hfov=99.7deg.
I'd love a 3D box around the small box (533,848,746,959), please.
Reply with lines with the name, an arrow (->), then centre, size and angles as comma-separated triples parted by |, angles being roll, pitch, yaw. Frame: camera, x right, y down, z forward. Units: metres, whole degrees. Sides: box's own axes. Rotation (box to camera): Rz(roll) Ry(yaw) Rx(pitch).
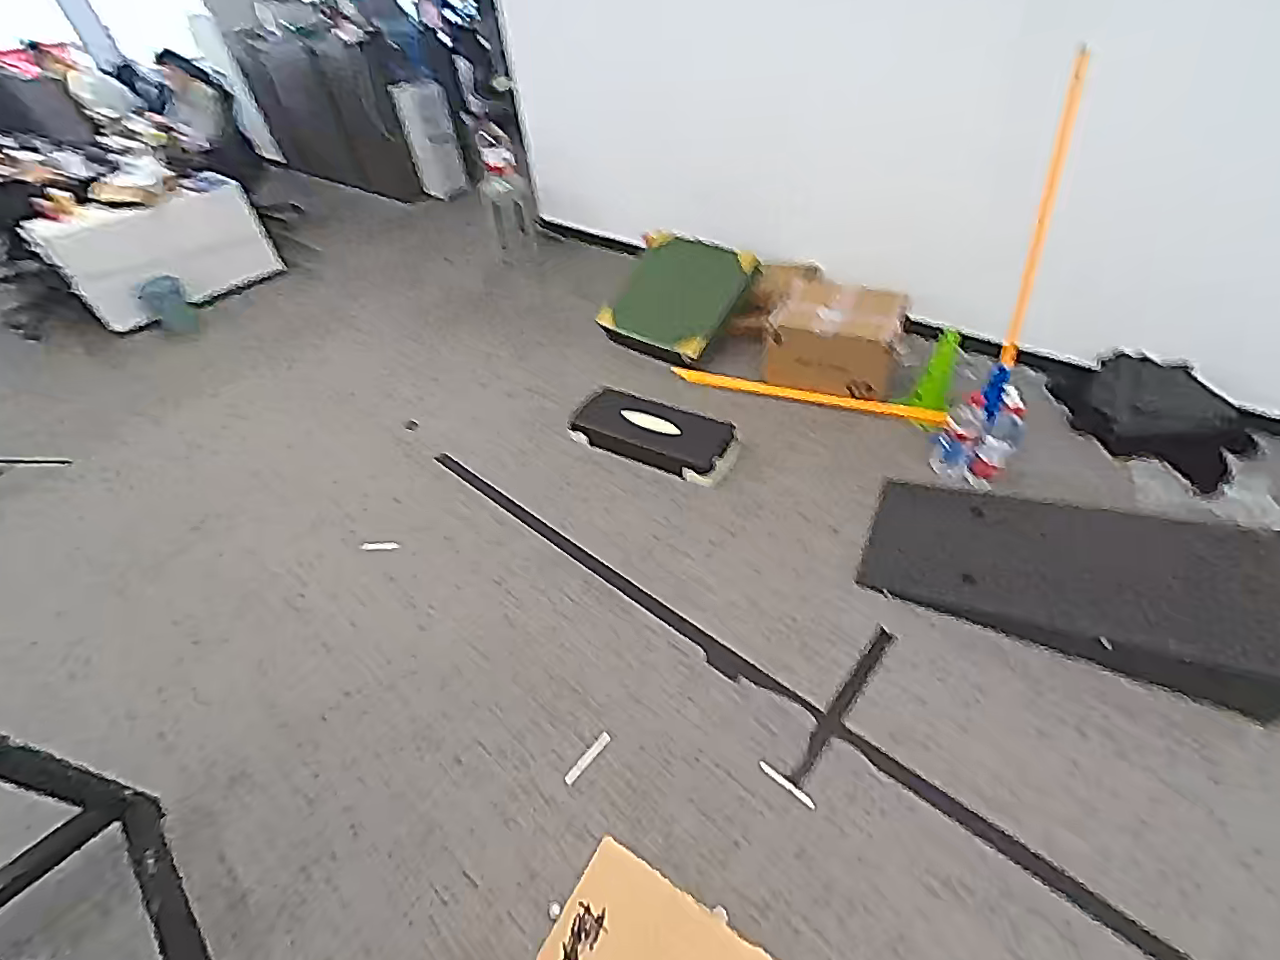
small box -> 0.002, 0.429, 0.414 | 0.179, 0.176, 0.168 | 23, 52, 25
